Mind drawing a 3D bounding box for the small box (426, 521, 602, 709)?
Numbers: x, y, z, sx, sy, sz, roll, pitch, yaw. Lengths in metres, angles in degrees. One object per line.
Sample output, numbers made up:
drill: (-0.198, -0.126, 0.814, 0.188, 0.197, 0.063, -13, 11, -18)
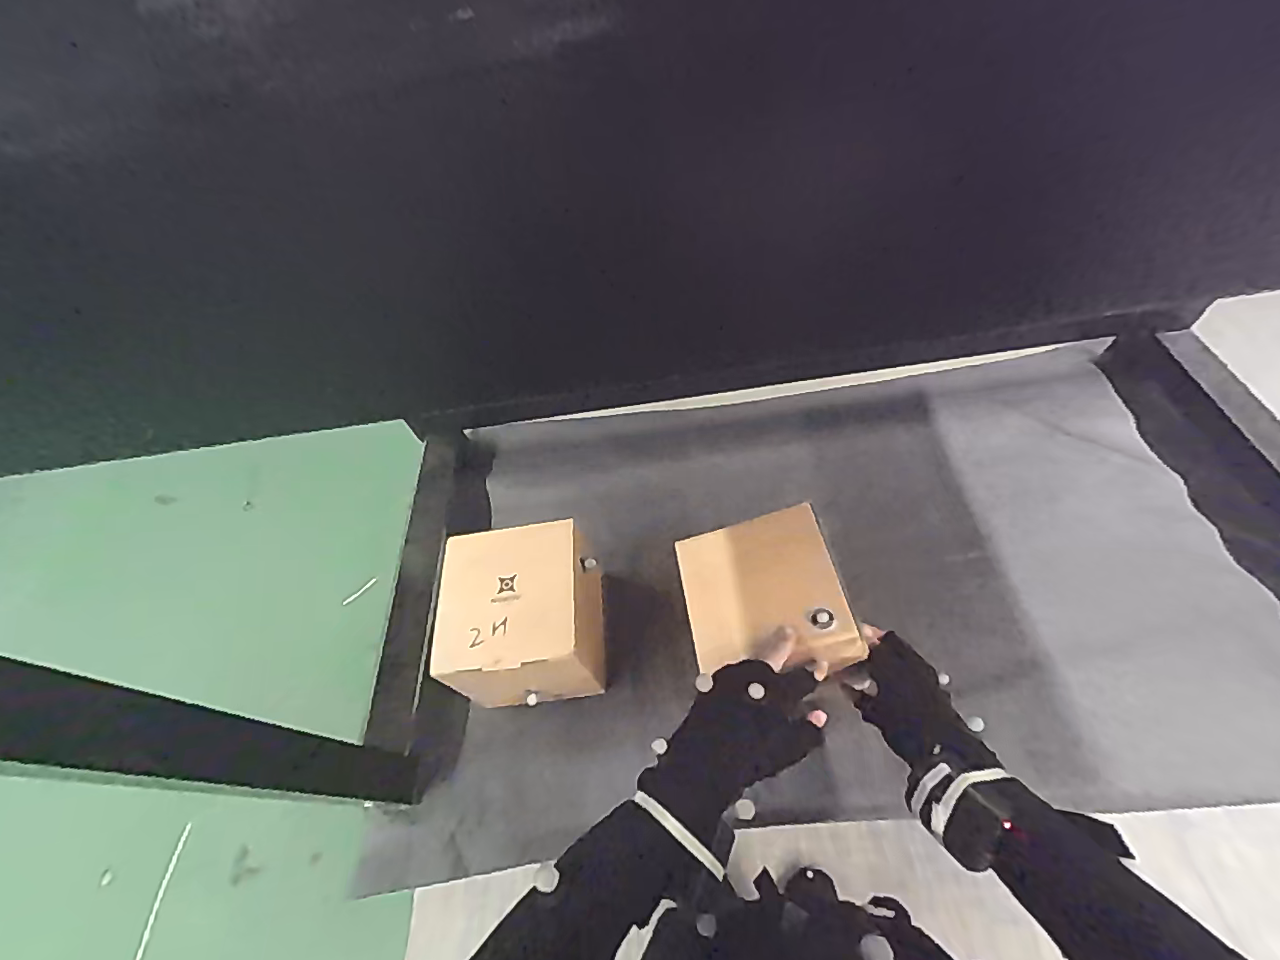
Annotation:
small box: (-0.146, 0.177, 0.695, 0.168, 0.176, 0.179, -9, 54, 5)
